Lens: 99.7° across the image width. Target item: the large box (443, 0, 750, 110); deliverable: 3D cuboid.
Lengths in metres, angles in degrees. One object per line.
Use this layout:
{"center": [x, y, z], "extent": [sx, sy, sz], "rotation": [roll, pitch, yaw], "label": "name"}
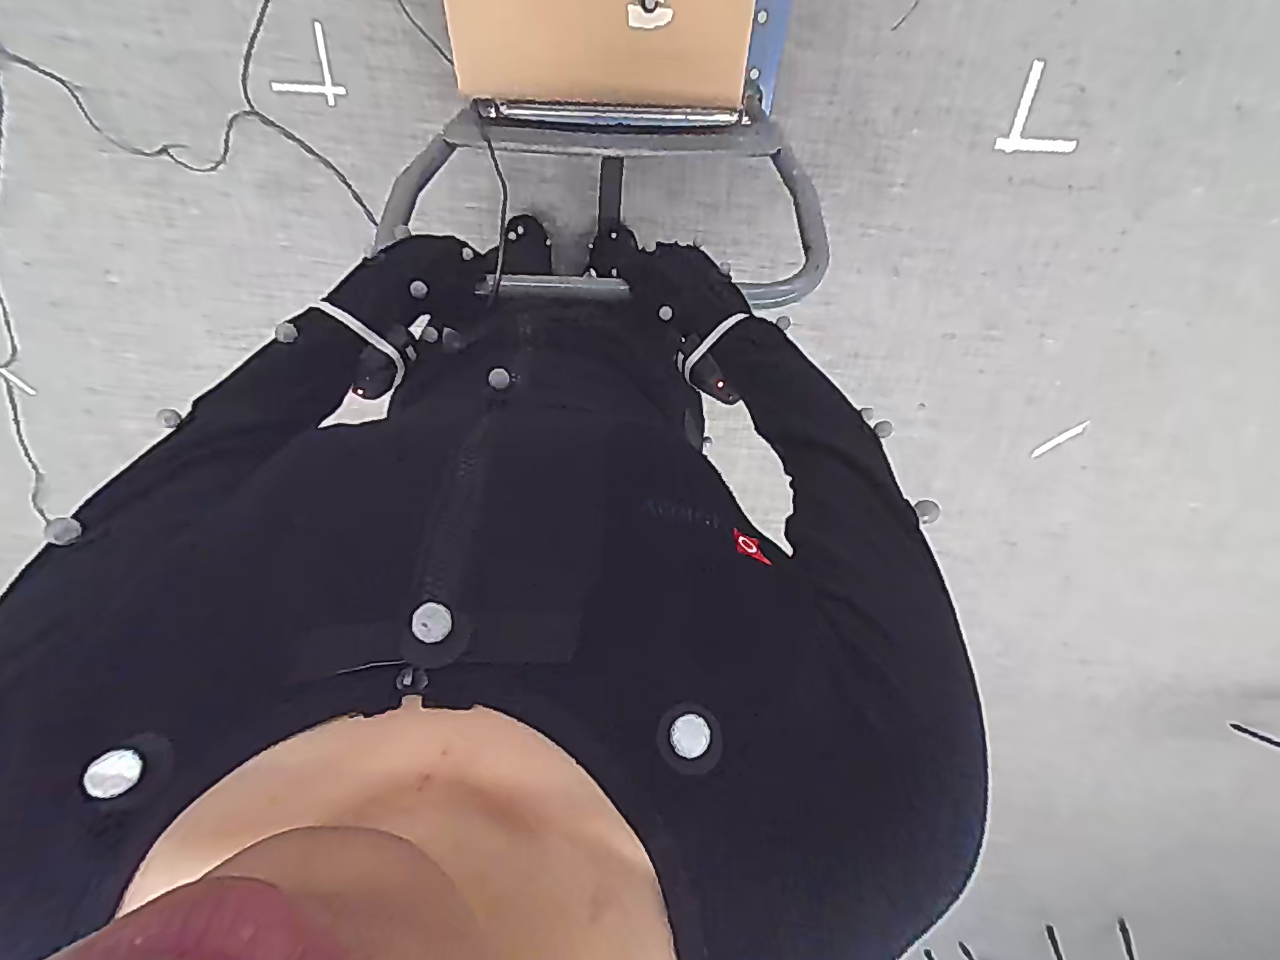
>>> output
{"center": [-0.058, -0.745, 0.778], "extent": [0.408, 0.320, 0.320], "rotation": [1, 133, -2], "label": "large box"}
